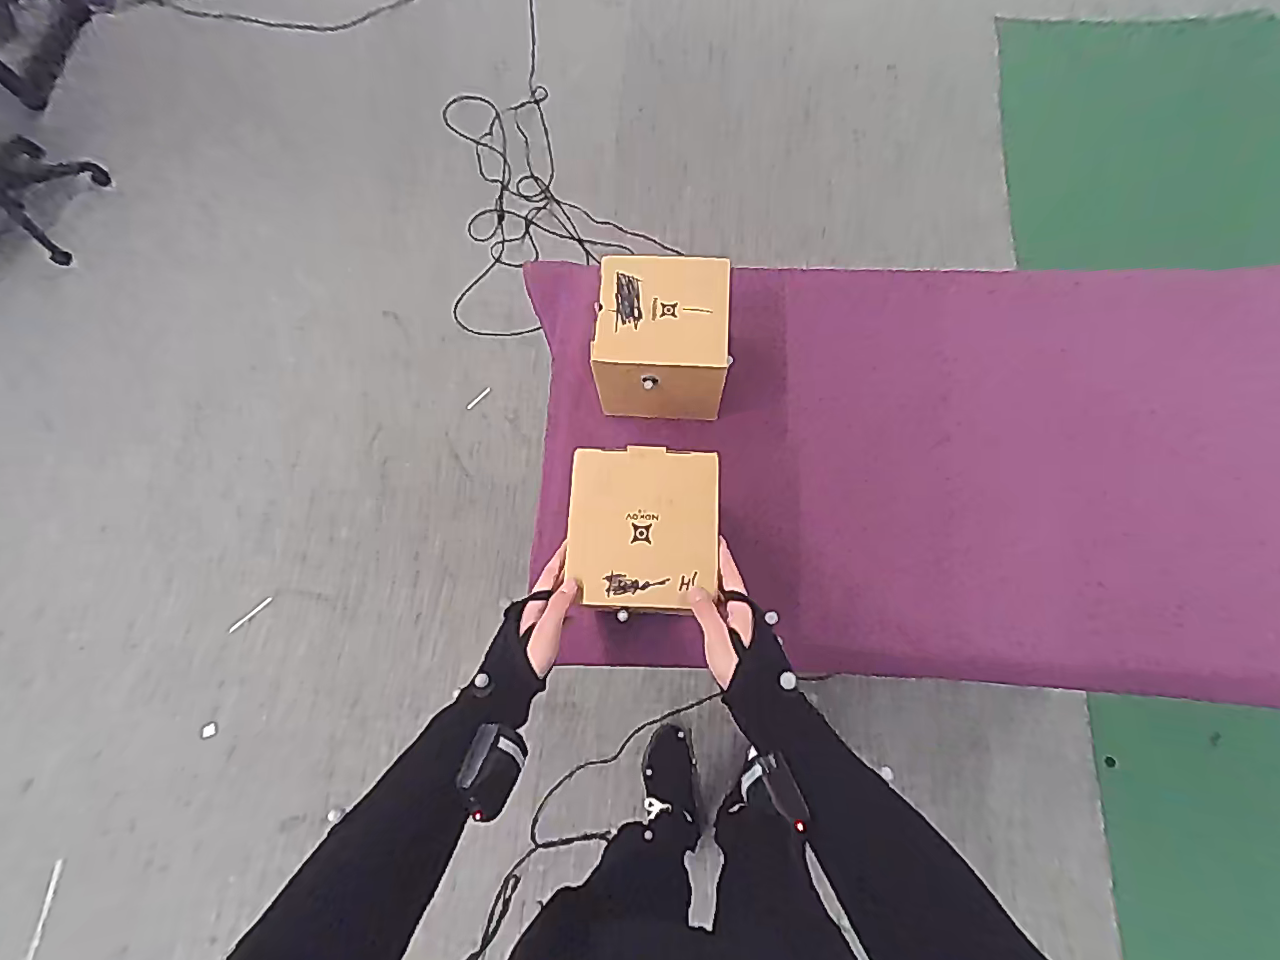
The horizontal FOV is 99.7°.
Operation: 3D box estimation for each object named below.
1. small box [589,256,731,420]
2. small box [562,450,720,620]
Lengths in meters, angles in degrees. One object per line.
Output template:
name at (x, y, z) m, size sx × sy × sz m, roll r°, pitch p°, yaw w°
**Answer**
small box at (0.032, -0.194, 0.773) m, size 0.179 × 0.176 × 0.168 m, roll 3°, pitch 73°, yaw 4°
small box at (0.006, 0.075, 0.662) m, size 0.168 × 0.176 × 0.179 m, roll 2°, pitch 74°, yaw 3°
